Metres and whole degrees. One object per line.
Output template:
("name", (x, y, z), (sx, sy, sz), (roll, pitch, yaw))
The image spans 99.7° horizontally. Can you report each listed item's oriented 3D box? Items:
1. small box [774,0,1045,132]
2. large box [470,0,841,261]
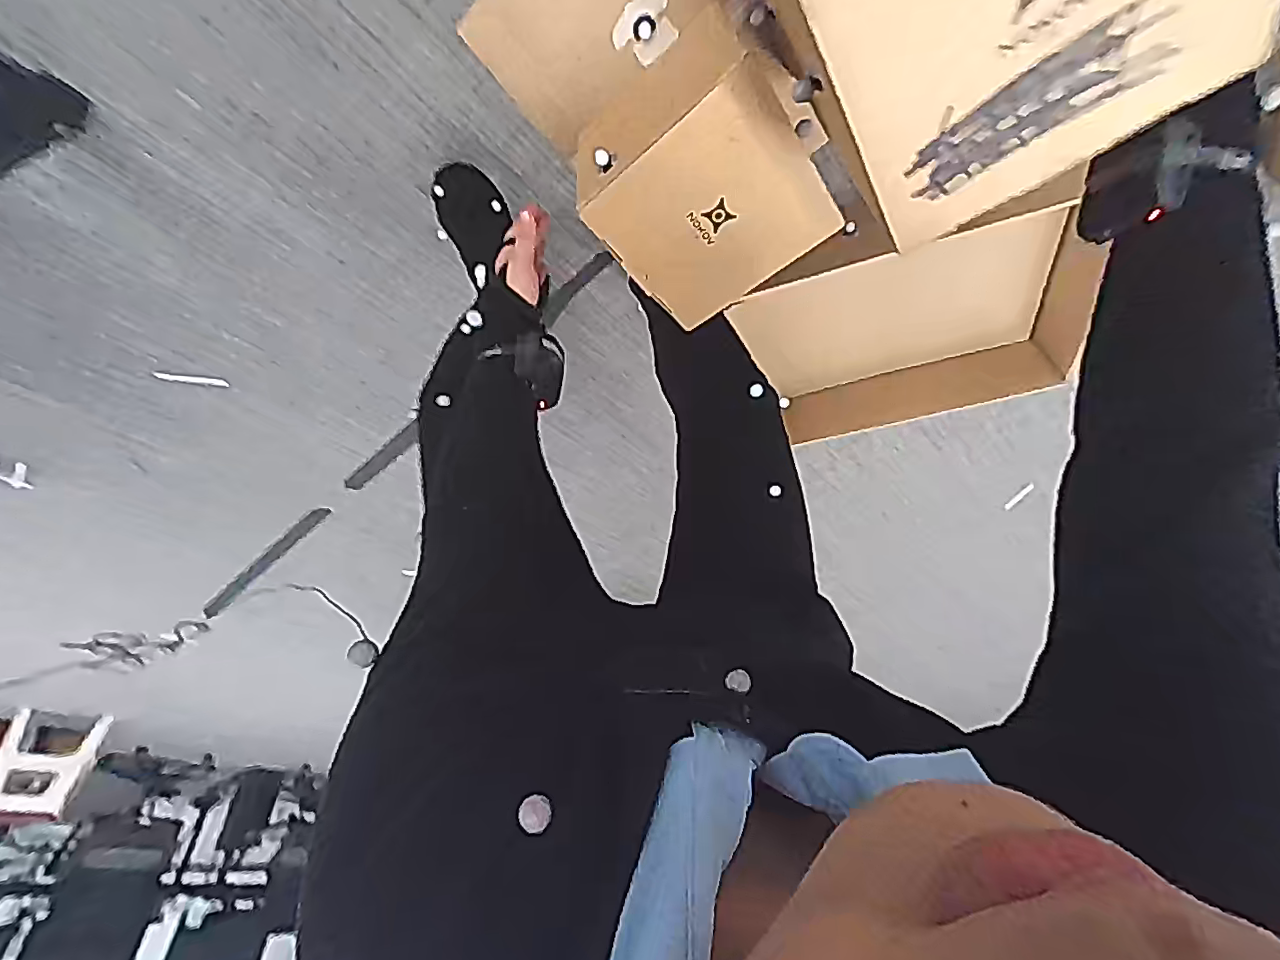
("small box", (0.170, -0.398, 0.371), (0.168, 0.176, 0.179), (-25, 137, 28))
("large box", (0.085, -0.543, 0.581), (0.408, 0.320, 0.320), (-28, 134, 30))
